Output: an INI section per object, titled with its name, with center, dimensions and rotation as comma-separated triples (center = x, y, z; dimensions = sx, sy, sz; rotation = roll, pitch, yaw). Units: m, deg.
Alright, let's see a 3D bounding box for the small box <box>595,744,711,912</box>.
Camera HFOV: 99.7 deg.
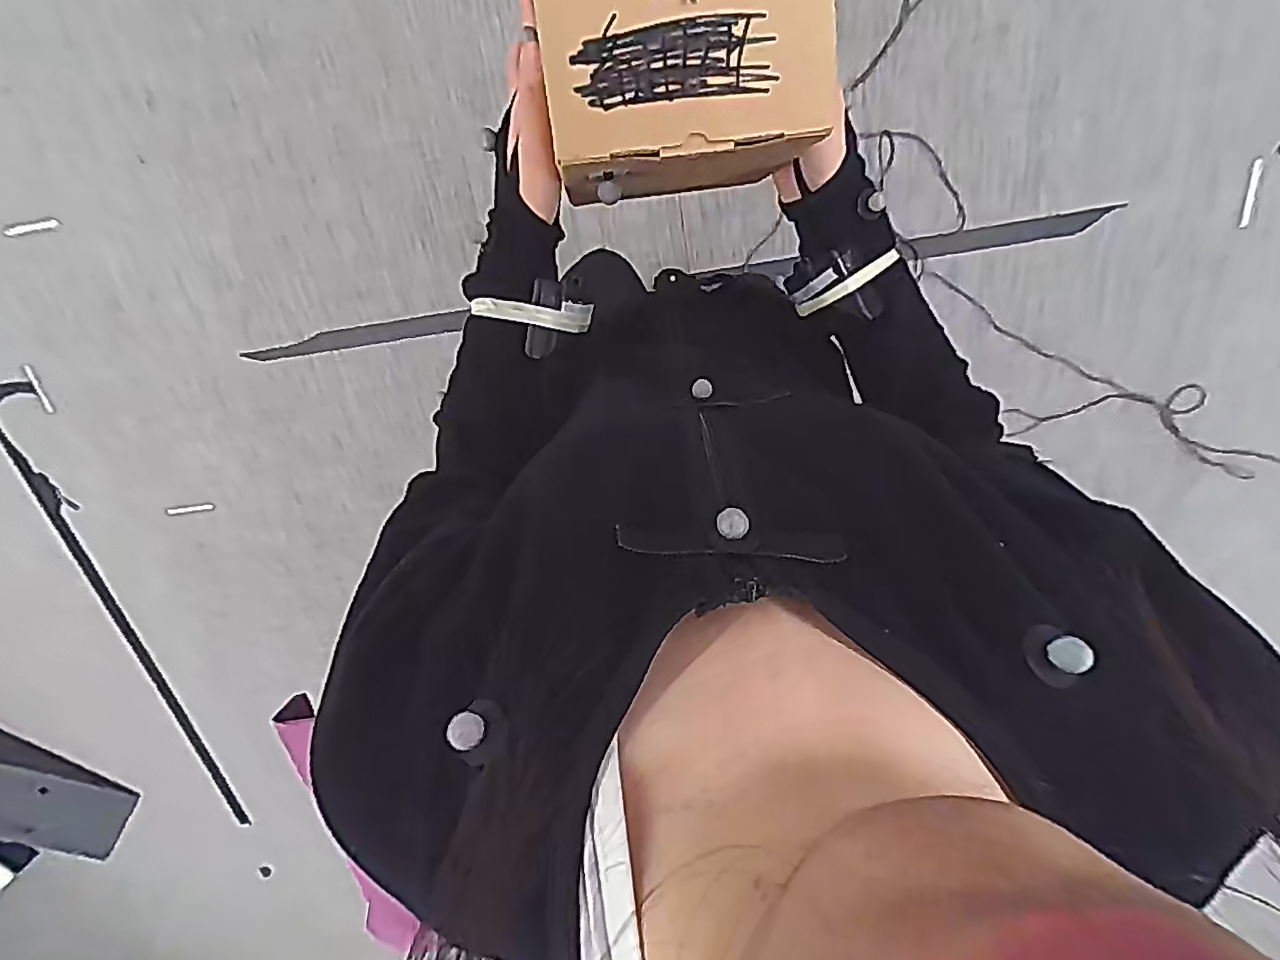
[small box]
center = 0.027, 0.572, 0.898
dimensions = 0.168, 0.176, 0.179
rotation = -6, 112, 4
